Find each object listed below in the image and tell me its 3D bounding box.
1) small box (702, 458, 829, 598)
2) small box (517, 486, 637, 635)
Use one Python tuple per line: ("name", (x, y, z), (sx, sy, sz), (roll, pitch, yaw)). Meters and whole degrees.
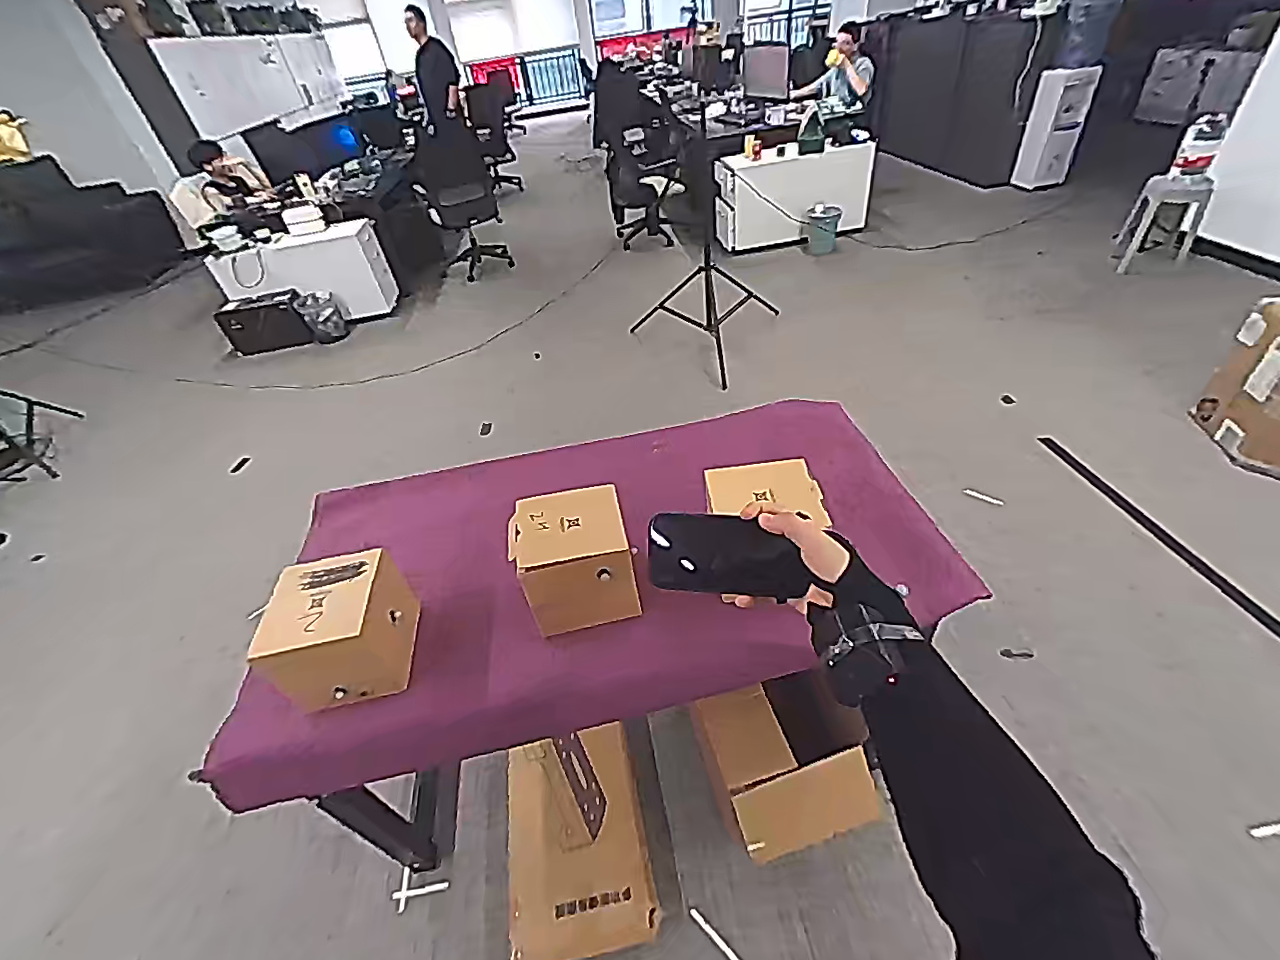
("small box", (0.209, 0.086, 0.931), (0.179, 0.176, 0.168), (-8, 41, 2))
("small box", (-0.105, 0.138, 0.929), (0.179, 0.176, 0.168), (-13, 38, -4))
